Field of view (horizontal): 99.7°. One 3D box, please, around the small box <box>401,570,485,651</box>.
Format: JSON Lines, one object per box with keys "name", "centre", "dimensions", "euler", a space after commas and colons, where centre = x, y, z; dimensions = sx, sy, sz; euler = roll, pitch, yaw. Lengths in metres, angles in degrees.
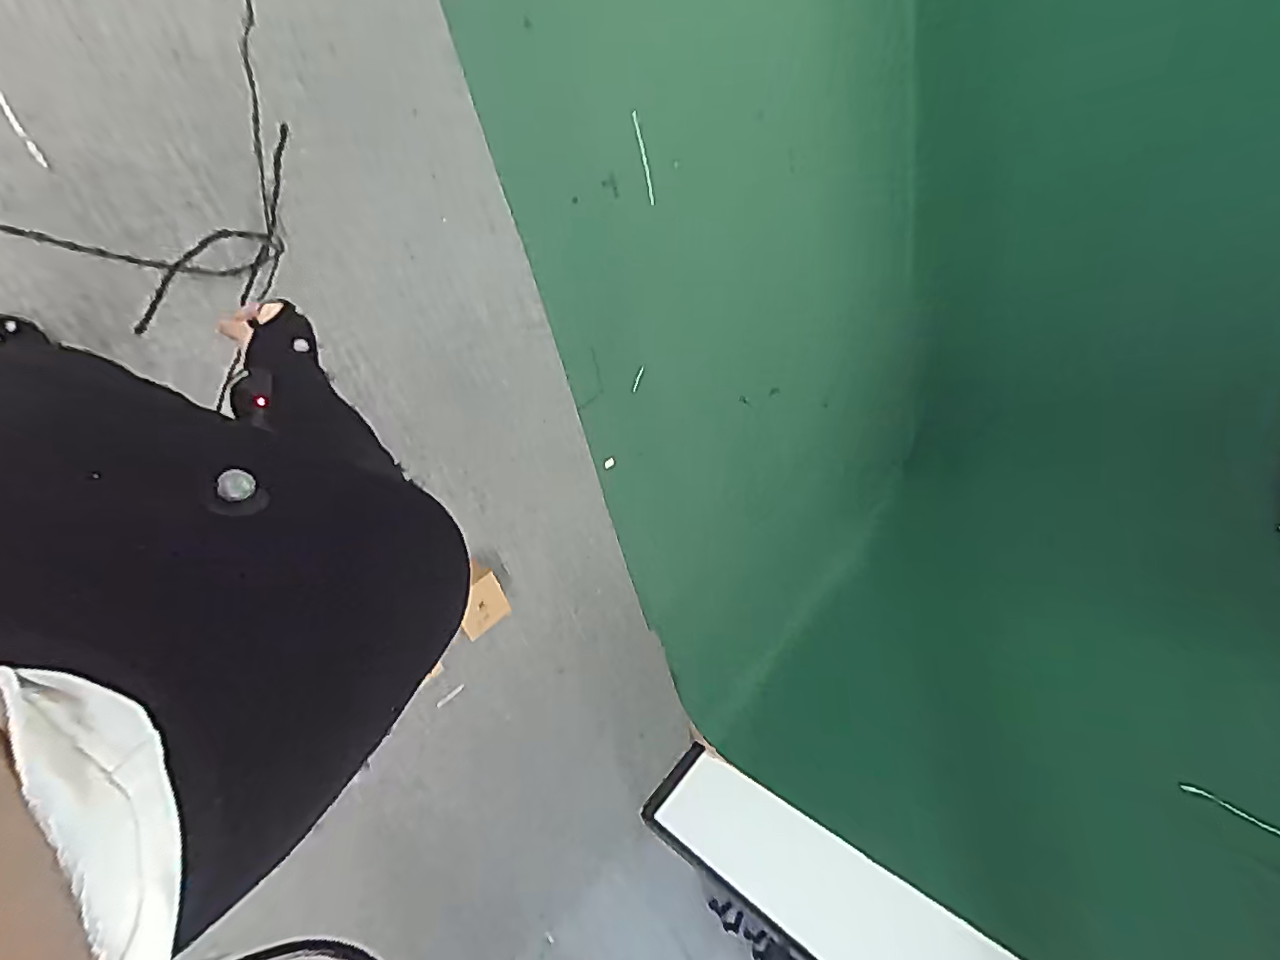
{"name": "small box", "centre": [-0.642, 0.414, 1.756], "dimensions": [0.168, 0.176, 0.179], "euler": [-36, 126, -34]}
